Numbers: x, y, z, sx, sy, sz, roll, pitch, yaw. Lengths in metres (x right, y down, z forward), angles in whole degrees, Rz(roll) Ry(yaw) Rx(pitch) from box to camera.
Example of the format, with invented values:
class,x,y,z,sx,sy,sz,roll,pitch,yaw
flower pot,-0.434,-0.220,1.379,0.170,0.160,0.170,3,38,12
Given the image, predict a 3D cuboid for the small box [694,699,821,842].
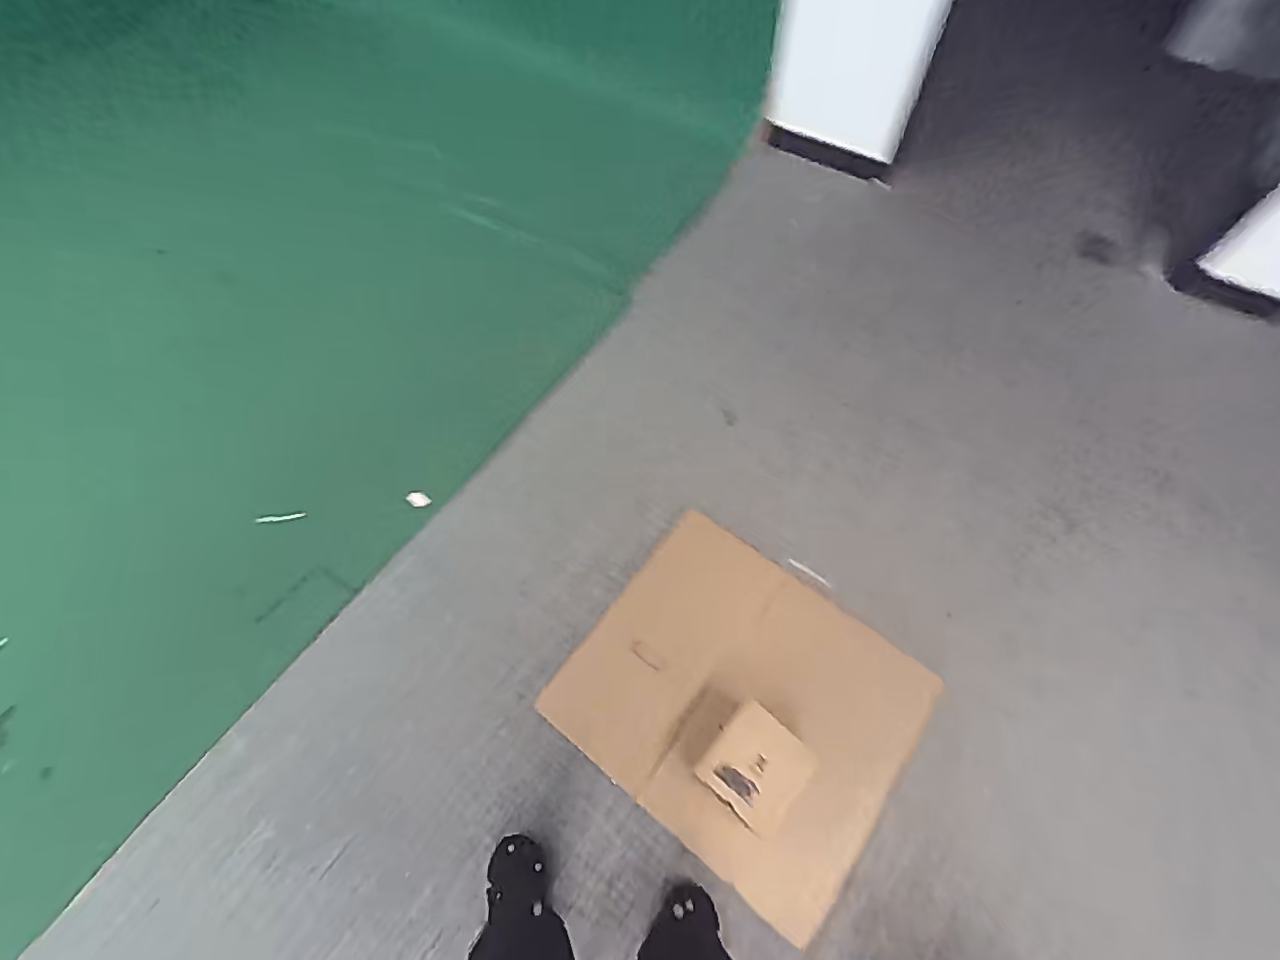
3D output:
class,x,y,z,sx,sy,sz,roll,pitch,yaw
small box,0.223,0.566,1.061,0.168,0.176,0.179,39,70,21
